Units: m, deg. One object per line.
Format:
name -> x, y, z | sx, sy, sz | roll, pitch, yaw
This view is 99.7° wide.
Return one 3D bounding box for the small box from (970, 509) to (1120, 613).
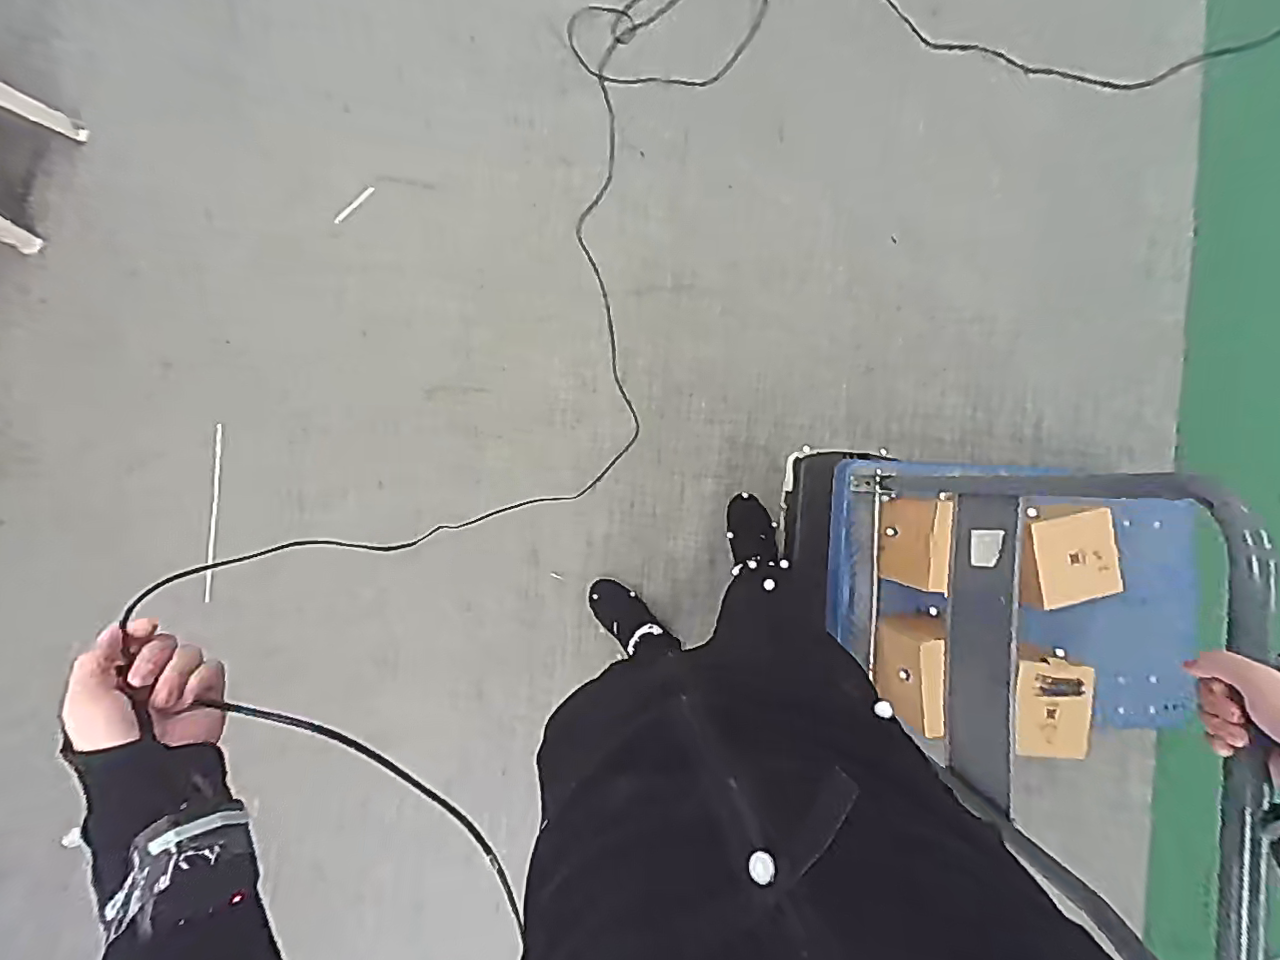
small box -> 0.798, 0.154, 1.086 | 0.179, 0.176, 0.168 | -10, 92, -8
